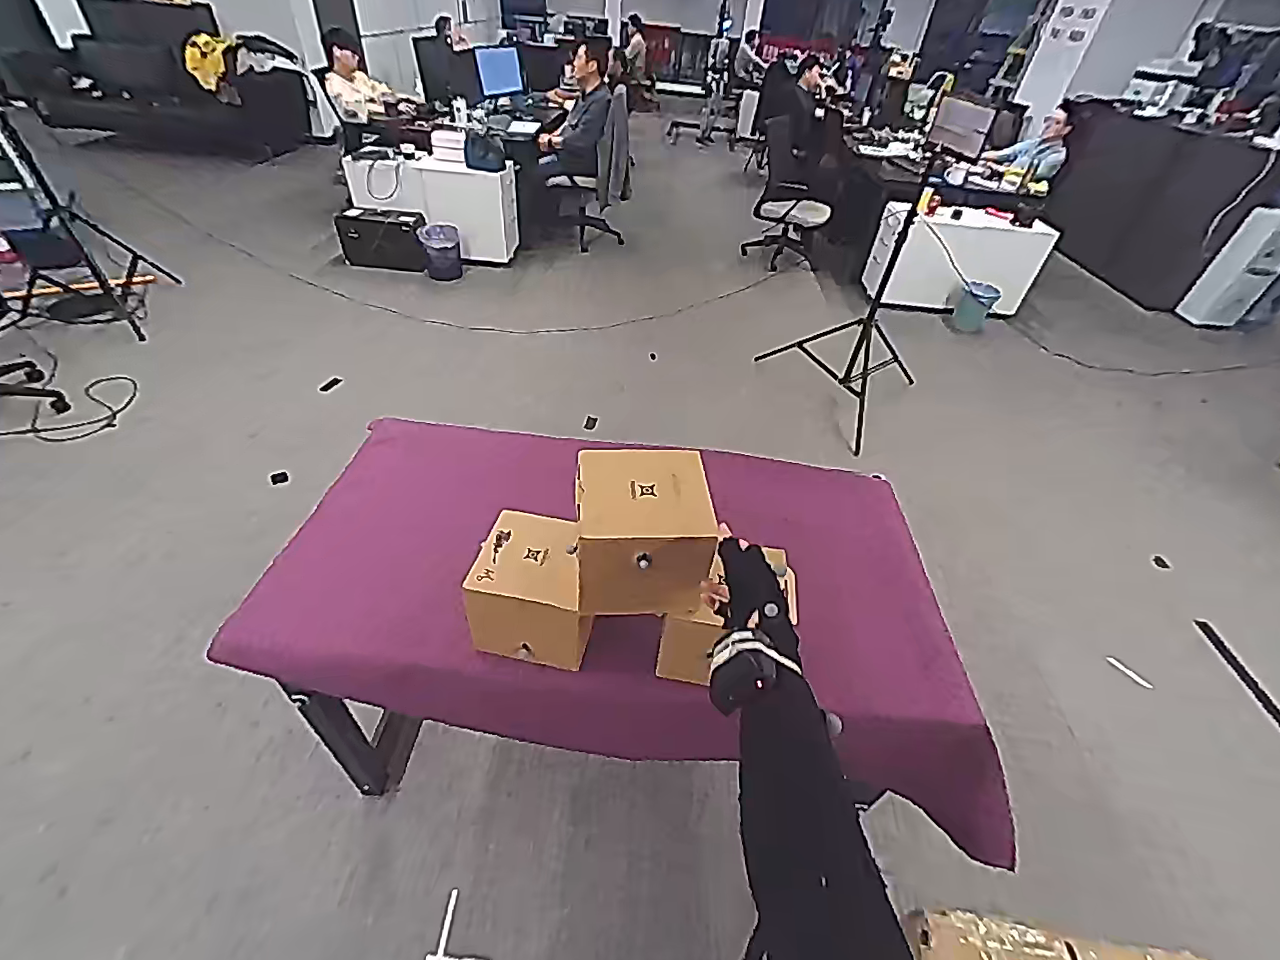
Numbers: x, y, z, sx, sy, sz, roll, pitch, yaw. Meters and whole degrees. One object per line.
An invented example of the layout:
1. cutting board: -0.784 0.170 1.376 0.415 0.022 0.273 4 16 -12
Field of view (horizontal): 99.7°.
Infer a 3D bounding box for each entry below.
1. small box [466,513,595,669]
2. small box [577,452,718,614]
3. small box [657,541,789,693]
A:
1. small box: -0.160 0.183 0.877 0.179 0.176 0.168 11 40 4
2. small box: 0.000 0.076 0.769 0.179 0.176 0.168 0 43 -7
3. small box: 0.129 0.218 0.869 0.179 0.176 0.168 9 40 4
